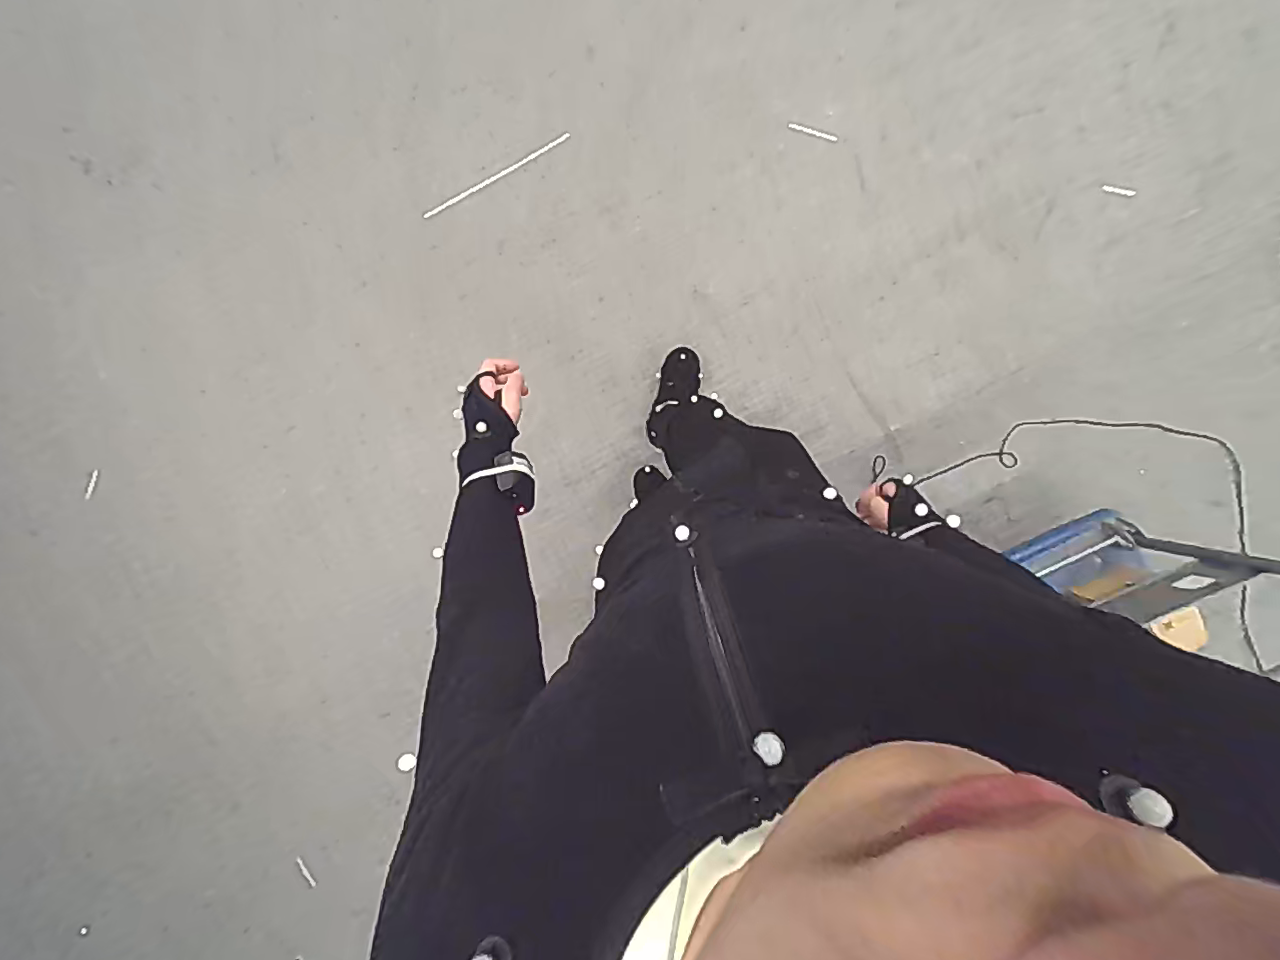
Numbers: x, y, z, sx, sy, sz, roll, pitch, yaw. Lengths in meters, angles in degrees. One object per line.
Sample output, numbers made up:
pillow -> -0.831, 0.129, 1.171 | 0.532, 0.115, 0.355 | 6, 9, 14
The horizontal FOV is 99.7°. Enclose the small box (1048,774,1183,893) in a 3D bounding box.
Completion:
small box -> 1.236, 0.916, 1.417 | 0.179, 0.176, 0.168 | -26, 91, 4

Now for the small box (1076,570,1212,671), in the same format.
small box -> 1.261, 0.350, 1.372 | 0.179, 0.176, 0.168 | -23, 95, 2
